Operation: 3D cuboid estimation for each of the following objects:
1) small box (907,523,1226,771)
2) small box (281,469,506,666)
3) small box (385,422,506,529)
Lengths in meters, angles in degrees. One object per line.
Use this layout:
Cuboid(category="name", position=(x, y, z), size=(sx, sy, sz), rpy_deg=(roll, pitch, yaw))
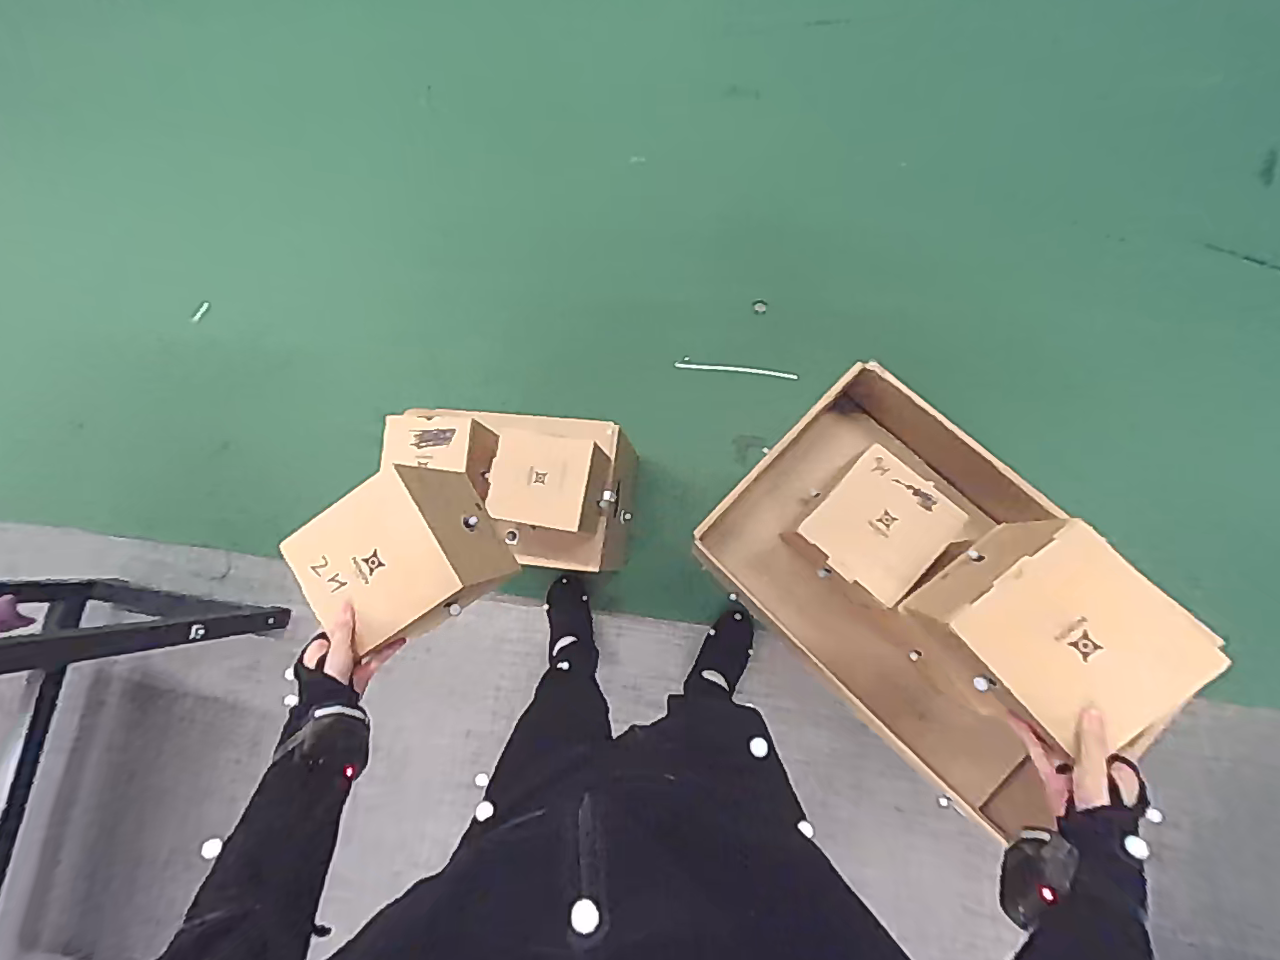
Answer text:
Cuboid(category="small box", position=(0.431, 0.164, 0.587), size=(0.168, 0.176, 0.179), rpy_deg=(-42, 75, 5))
Cuboid(category="small box", position=(-0.294, 0.103, 0.691), size=(0.179, 0.176, 0.168), rpy_deg=(-33, 81, 6))
Cuboid(category="small box", position=(-0.372, -0.003, 1.053), size=(0.168, 0.176, 0.179), rpy_deg=(3, 80, 8))
